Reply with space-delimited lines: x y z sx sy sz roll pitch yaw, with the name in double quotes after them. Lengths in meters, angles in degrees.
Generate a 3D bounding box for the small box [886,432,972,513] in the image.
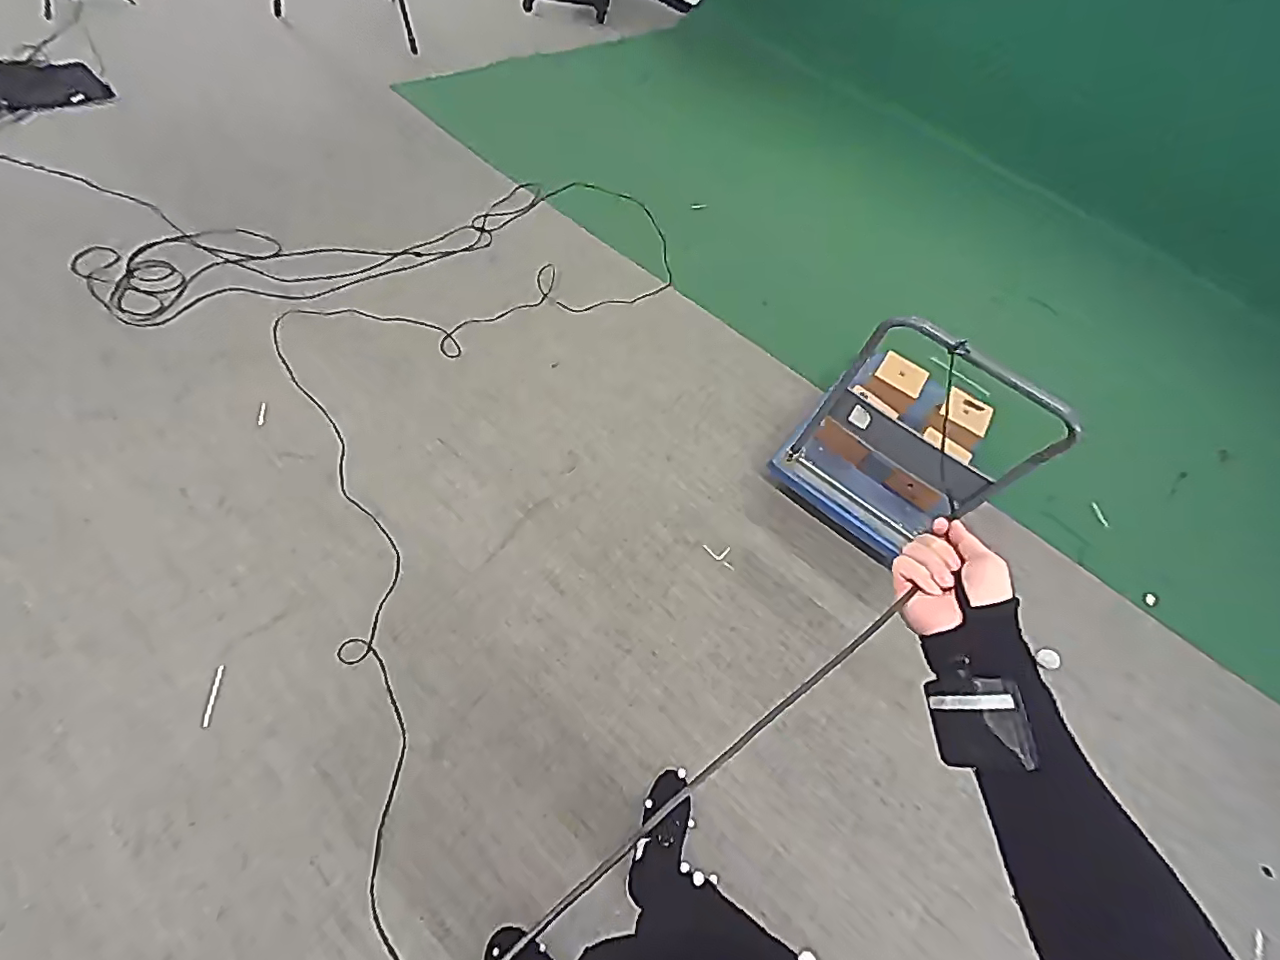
0.968 -0.023 1.825 0.168 0.176 0.179 39 58 14 "small box"

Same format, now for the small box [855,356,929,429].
0.932 -0.322 2.015 0.168 0.176 0.179 35 57 11 "small box"

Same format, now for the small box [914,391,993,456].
1.135 -0.181 1.966 0.168 0.176 0.179 35 58 12 "small box"
